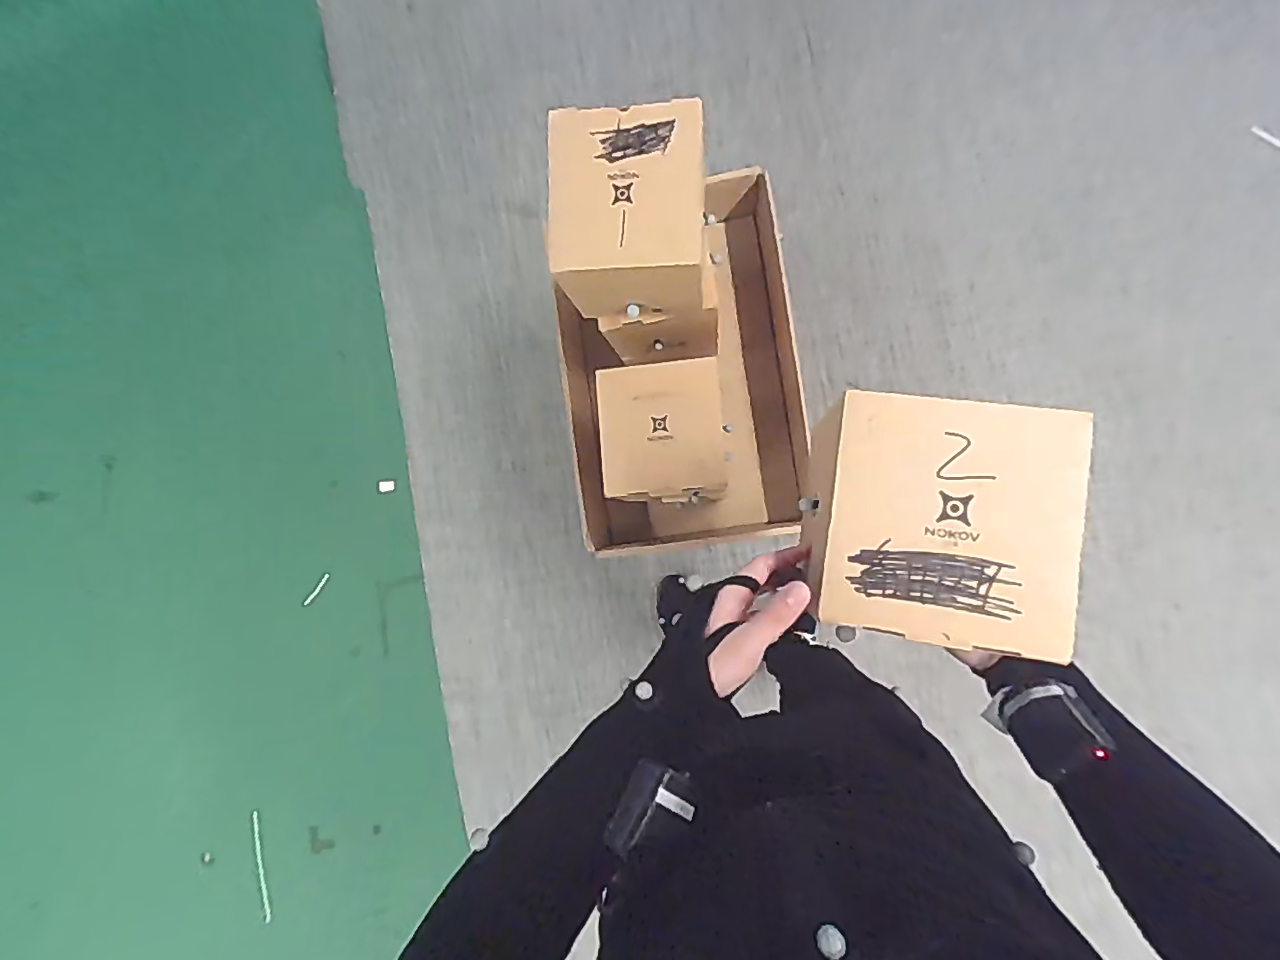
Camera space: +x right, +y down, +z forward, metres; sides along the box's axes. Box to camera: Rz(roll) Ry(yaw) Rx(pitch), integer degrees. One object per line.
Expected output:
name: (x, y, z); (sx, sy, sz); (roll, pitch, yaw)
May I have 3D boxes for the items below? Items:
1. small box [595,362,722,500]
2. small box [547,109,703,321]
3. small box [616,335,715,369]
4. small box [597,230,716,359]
small box: (0.035, -0.062, 0.801); (0.168, 0.176, 0.179); (-4, 86, 7)
small box: (-0.009, -0.304, 0.655); (0.168, 0.176, 0.179); (0, 90, 7)
small box: (0.041, -0.297, 0.977); (0.168, 0.176, 0.179); (-9, 88, 8)
small box: (0.018, -0.298, 0.816); (0.168, 0.176, 0.179); (-9, 89, 7)
